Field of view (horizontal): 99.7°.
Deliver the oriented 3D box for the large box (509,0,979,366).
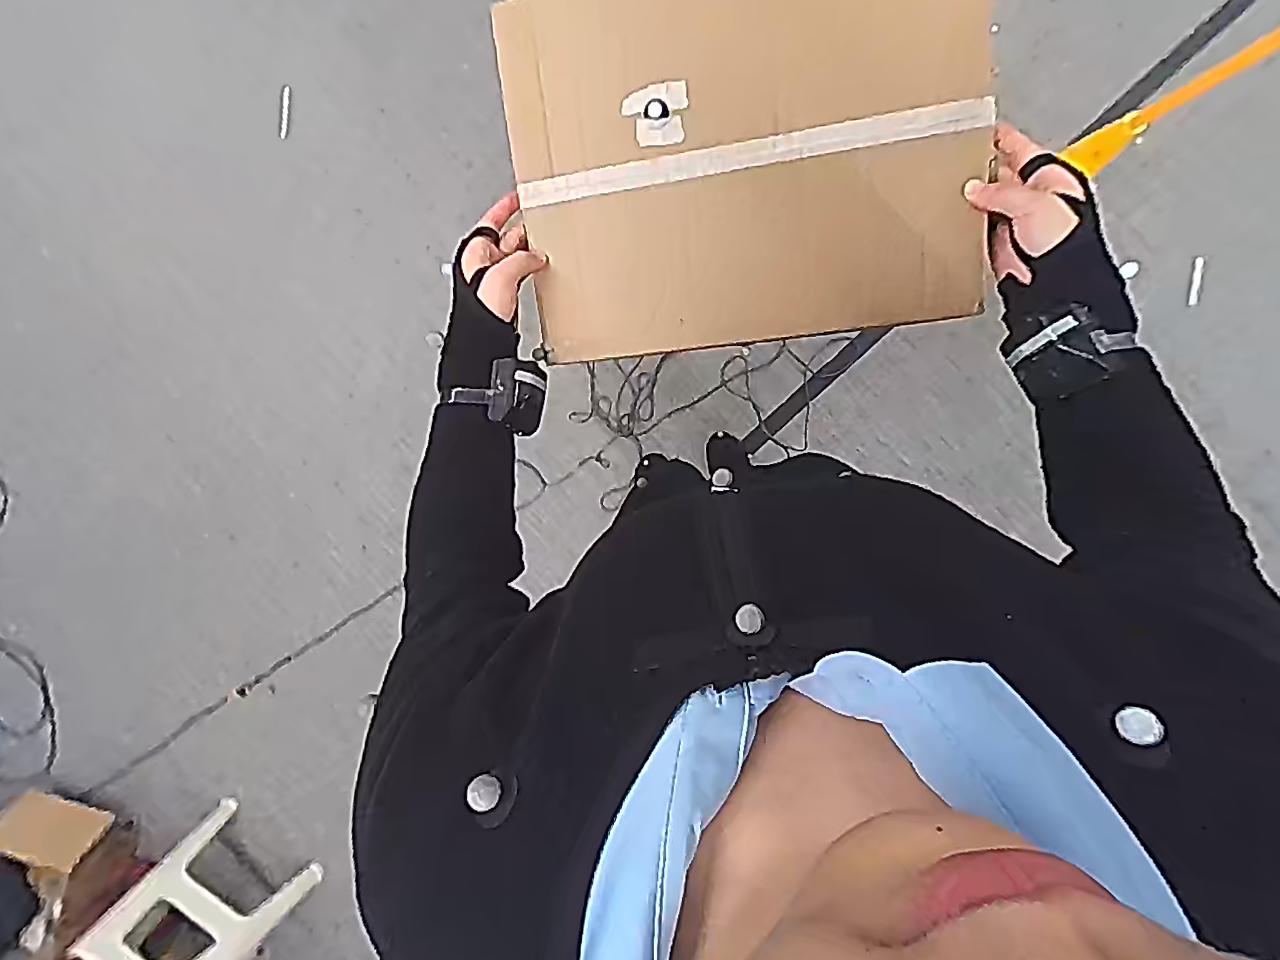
[{"bbox_3d":[0.116,-0.320,0.633,0.408,0.320,0.320,-5,102,10],"label":"large box"}]
